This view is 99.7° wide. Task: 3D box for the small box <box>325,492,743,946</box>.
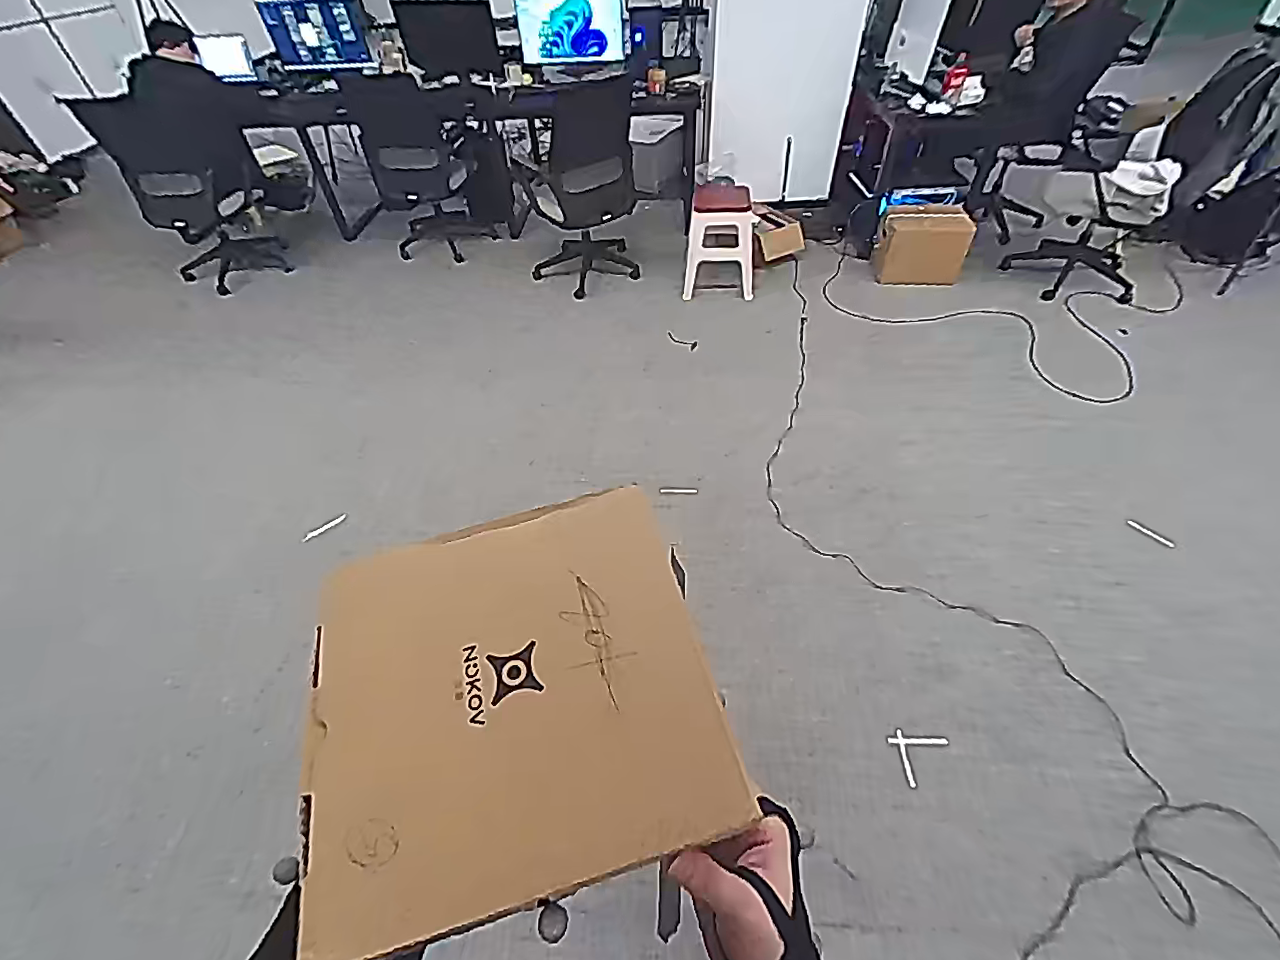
[{"bbox_3d":[-0.054,0.138,0.323,0.179,0.176,0.168,-17,56,-7],"label":"small box"}]
